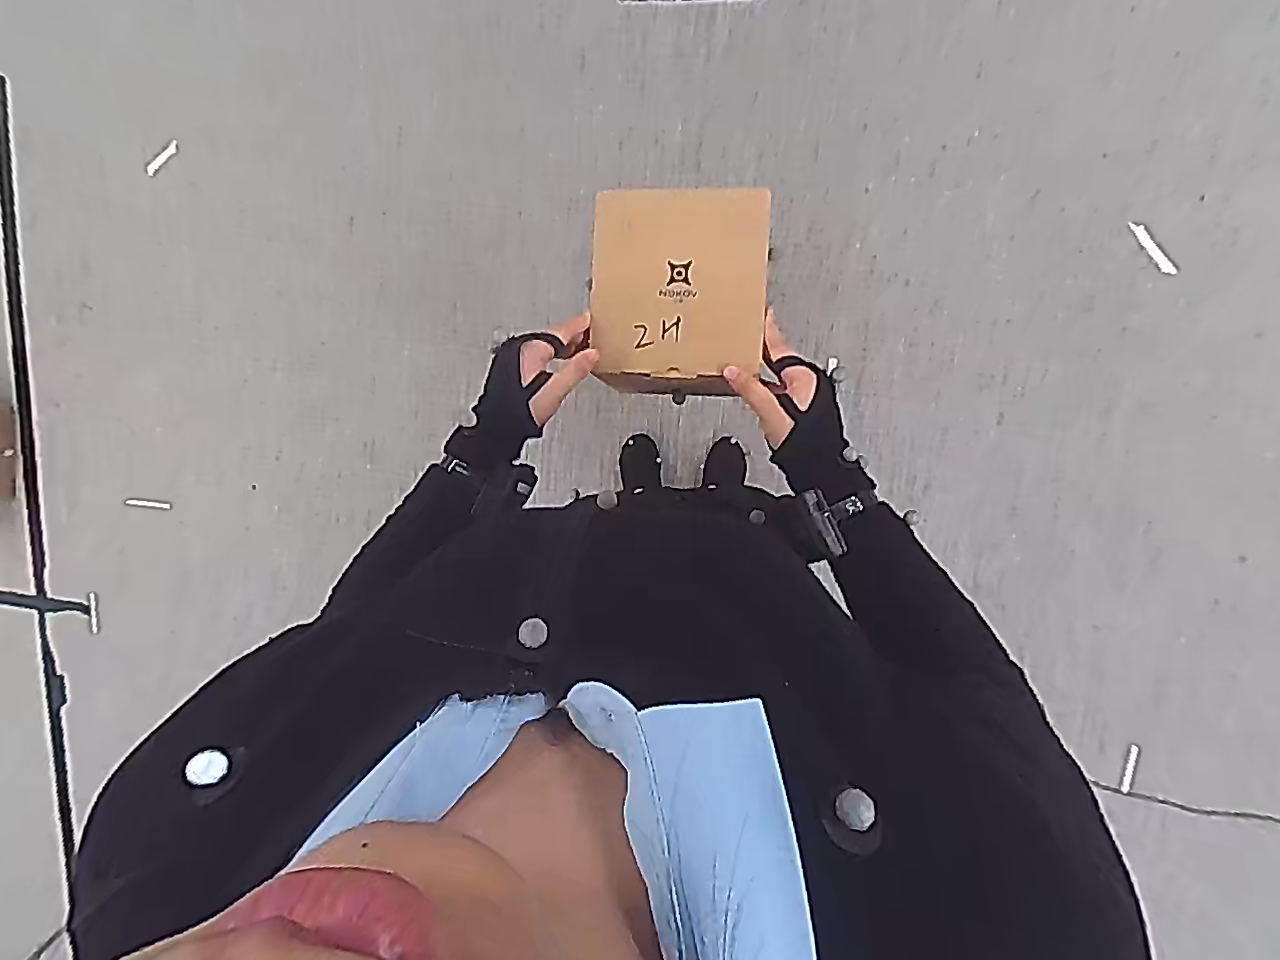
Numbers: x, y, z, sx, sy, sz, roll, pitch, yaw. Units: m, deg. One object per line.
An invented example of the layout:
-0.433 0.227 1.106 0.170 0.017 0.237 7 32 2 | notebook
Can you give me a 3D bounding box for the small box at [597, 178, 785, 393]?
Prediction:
0.054 -0.193 0.578 0.168 0.176 0.179 3 94 7 | small box
